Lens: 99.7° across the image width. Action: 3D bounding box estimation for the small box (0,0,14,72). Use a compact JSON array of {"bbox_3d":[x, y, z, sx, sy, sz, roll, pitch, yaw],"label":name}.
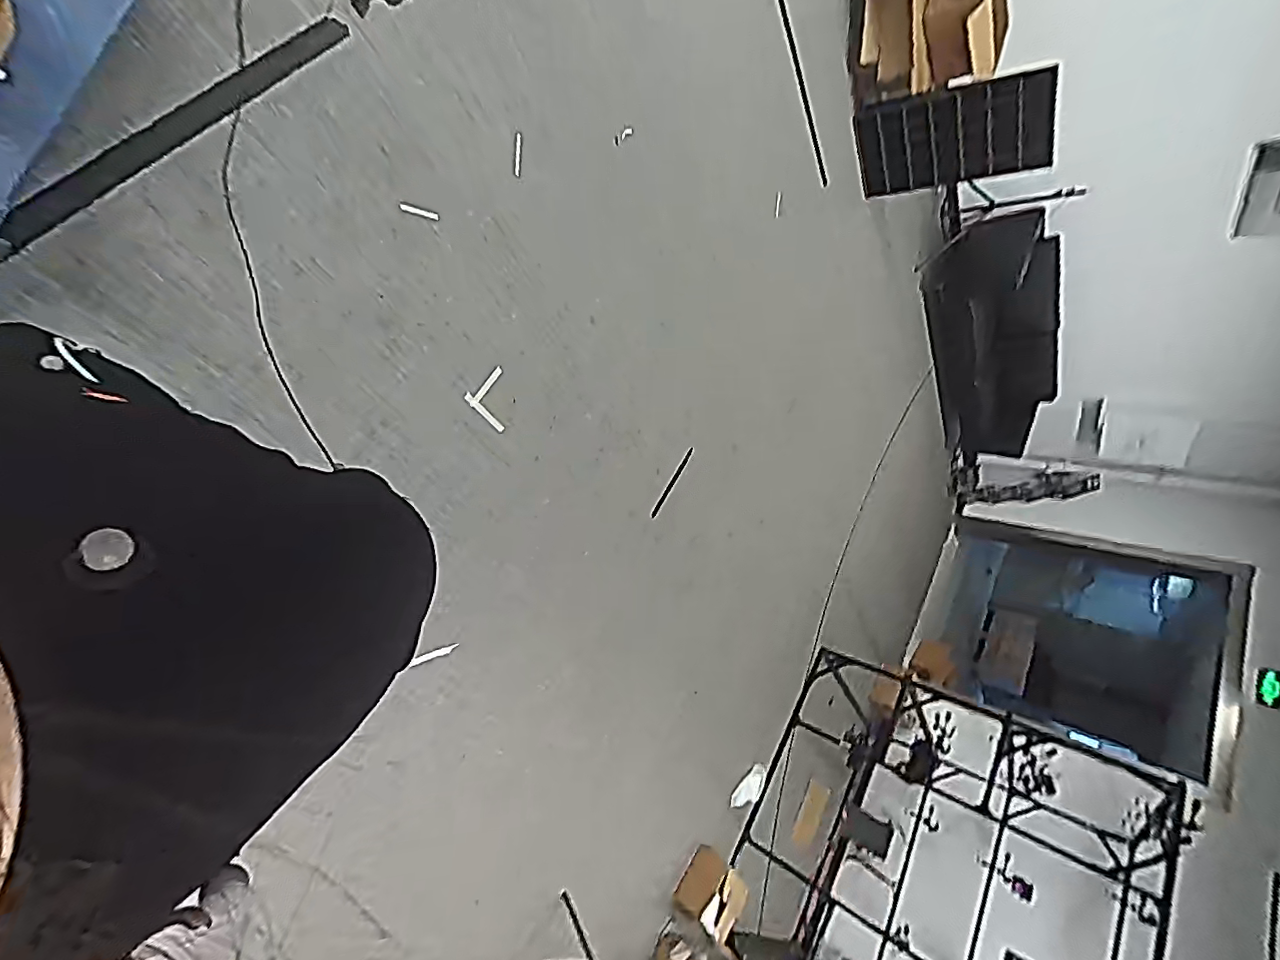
[{"bbox_3d":[-0.966,-0.607,0.693,0.179,0.176,0.168,24,81,-48],"label":"small box"}]
